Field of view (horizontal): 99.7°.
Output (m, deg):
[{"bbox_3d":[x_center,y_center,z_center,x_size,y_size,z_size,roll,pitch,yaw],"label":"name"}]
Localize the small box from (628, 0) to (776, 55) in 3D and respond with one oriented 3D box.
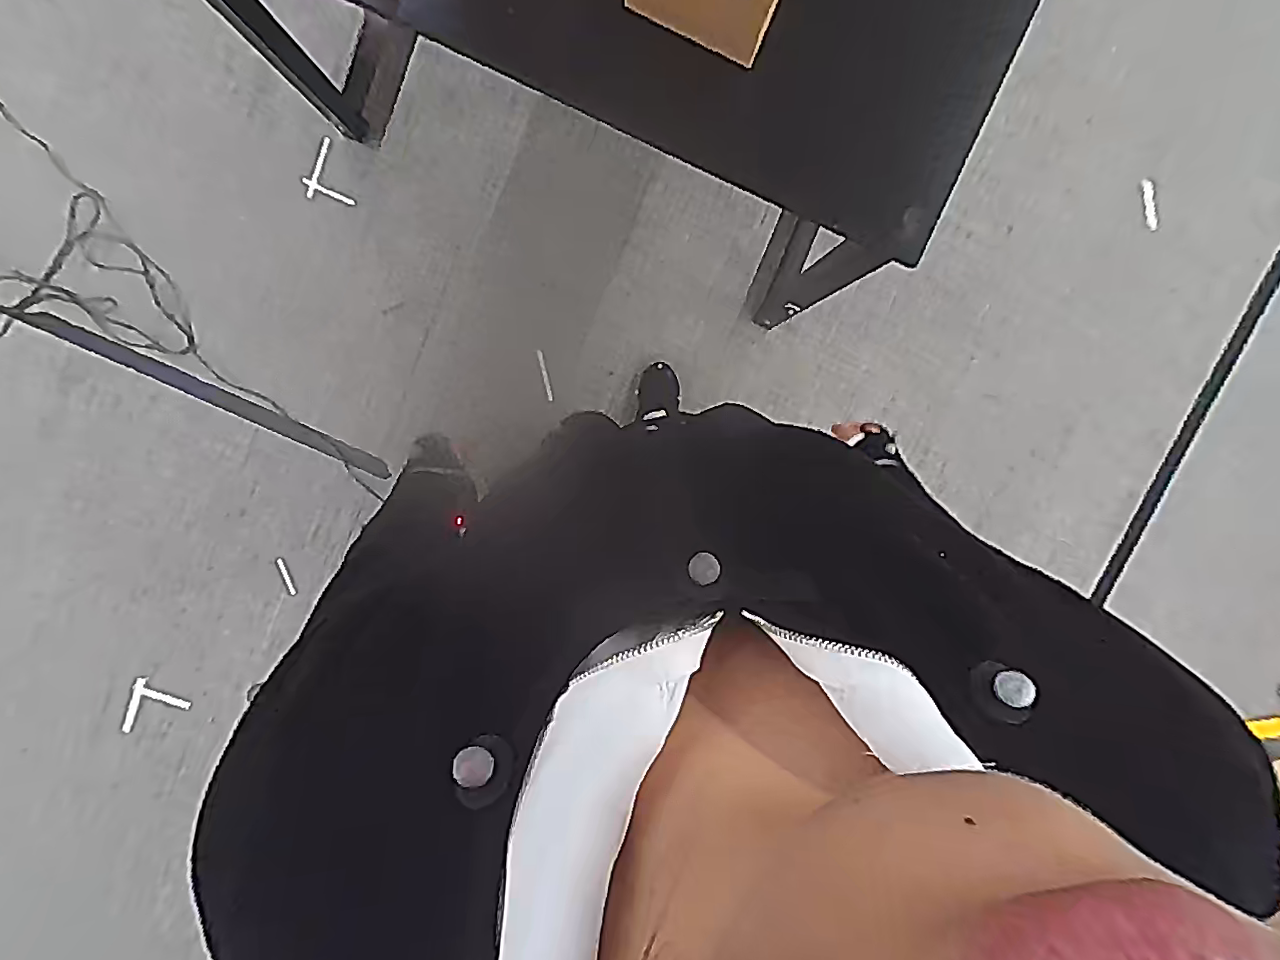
[{"bbox_3d":[0.094,-0.622,0.592,0.179,0.176,0.168,22,95,-5],"label":"small box"}]
